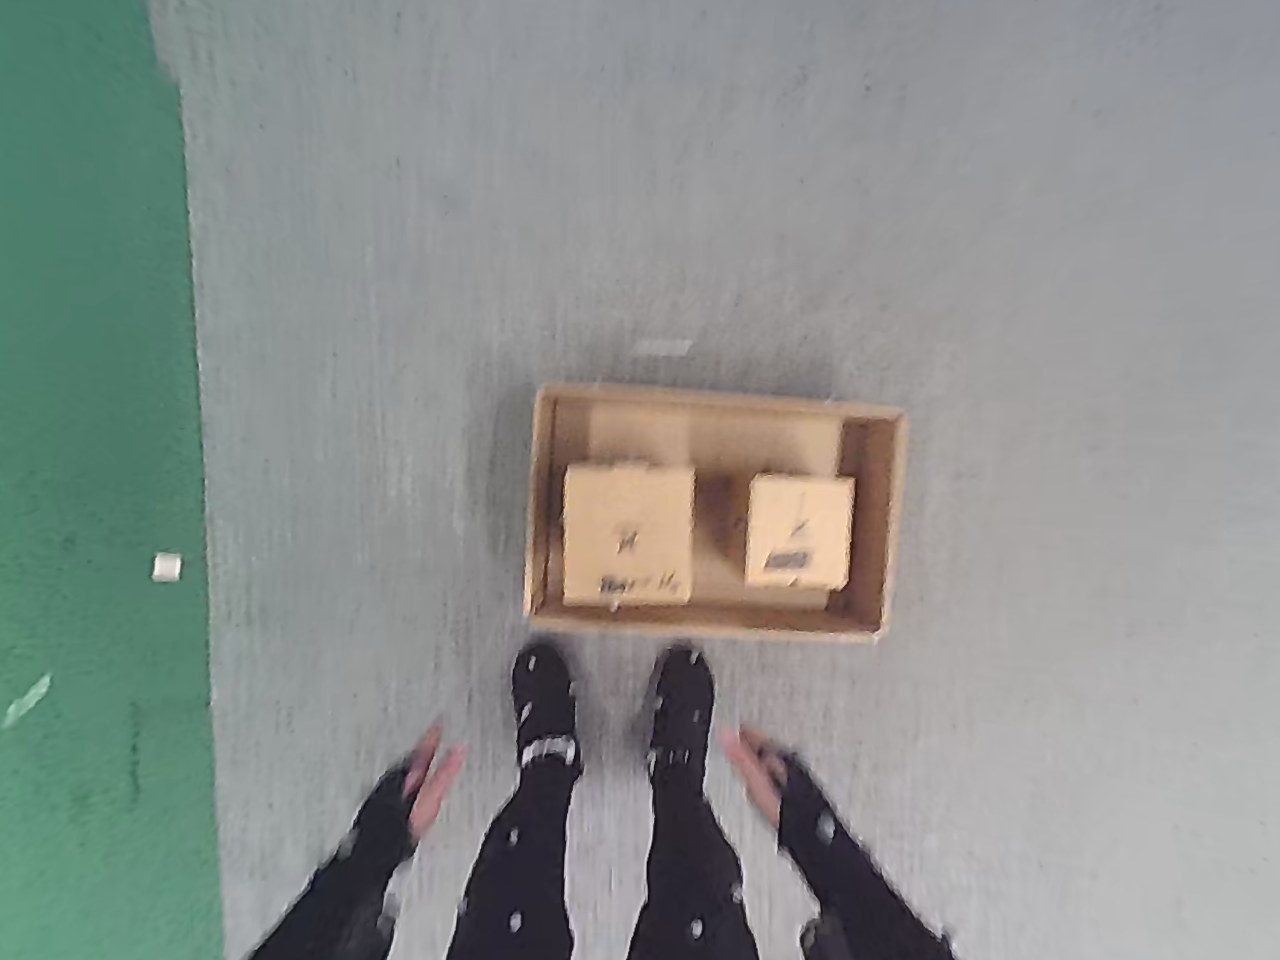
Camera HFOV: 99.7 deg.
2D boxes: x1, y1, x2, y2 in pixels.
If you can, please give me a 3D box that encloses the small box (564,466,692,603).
[{"bbox_3d":[-0.019,0.071,0.778,0.168,0.176,0.179,1,91,-2],"label":"small box"}]
